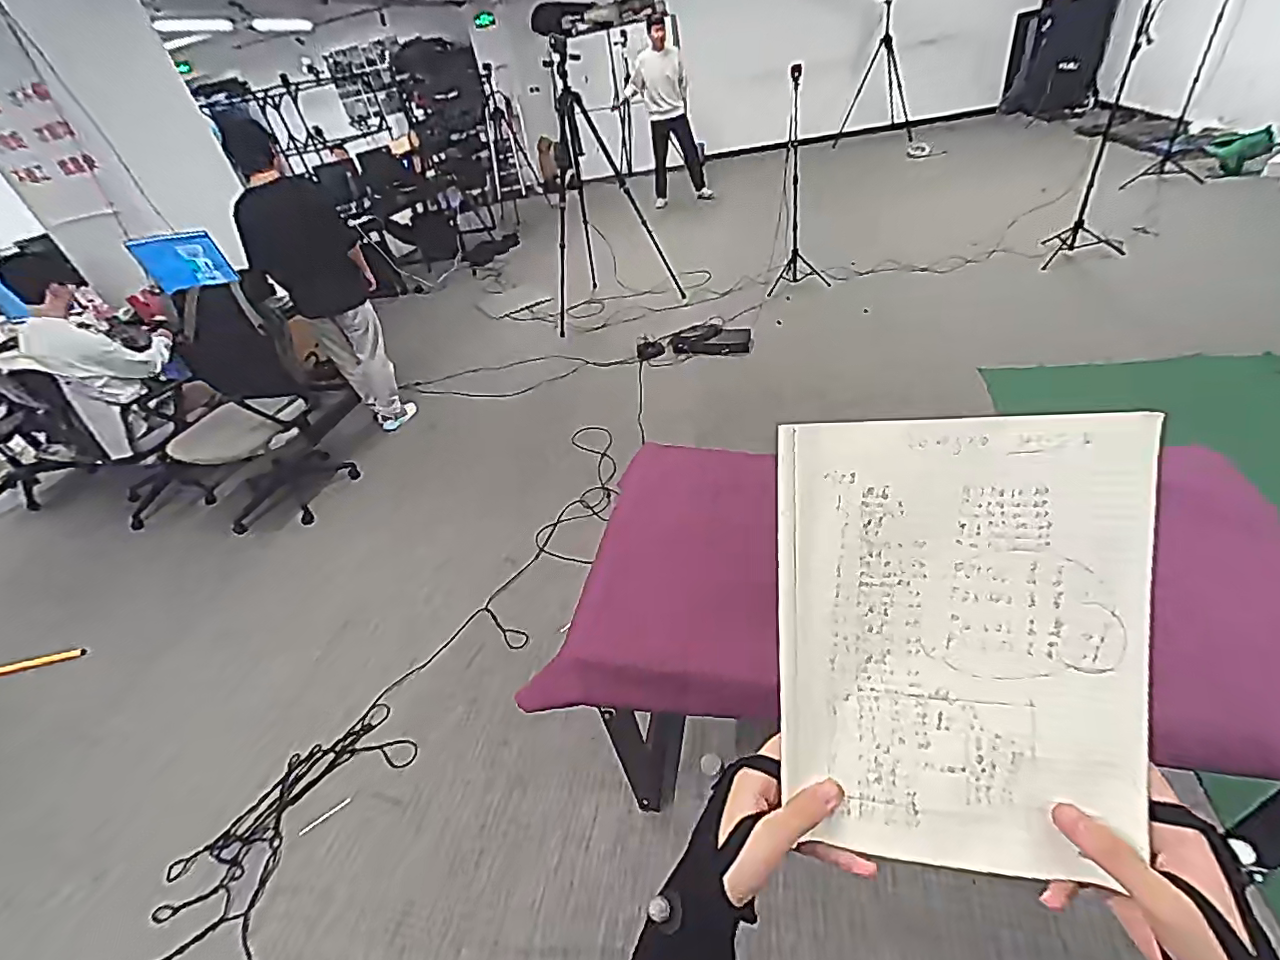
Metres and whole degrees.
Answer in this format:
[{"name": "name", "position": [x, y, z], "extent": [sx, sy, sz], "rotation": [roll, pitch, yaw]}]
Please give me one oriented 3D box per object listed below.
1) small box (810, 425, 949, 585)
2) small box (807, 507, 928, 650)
[{"name": "small box", "position": [0.341, 0.036, 0.800], "extent": [0.168, 0.176, 0.179], "rotation": [1, 38, 17]}, {"name": "small box", "position": [0.370, 0.161, 0.905], "extent": [0.168, 0.176, 0.179], "rotation": [1, 40, 16]}]
